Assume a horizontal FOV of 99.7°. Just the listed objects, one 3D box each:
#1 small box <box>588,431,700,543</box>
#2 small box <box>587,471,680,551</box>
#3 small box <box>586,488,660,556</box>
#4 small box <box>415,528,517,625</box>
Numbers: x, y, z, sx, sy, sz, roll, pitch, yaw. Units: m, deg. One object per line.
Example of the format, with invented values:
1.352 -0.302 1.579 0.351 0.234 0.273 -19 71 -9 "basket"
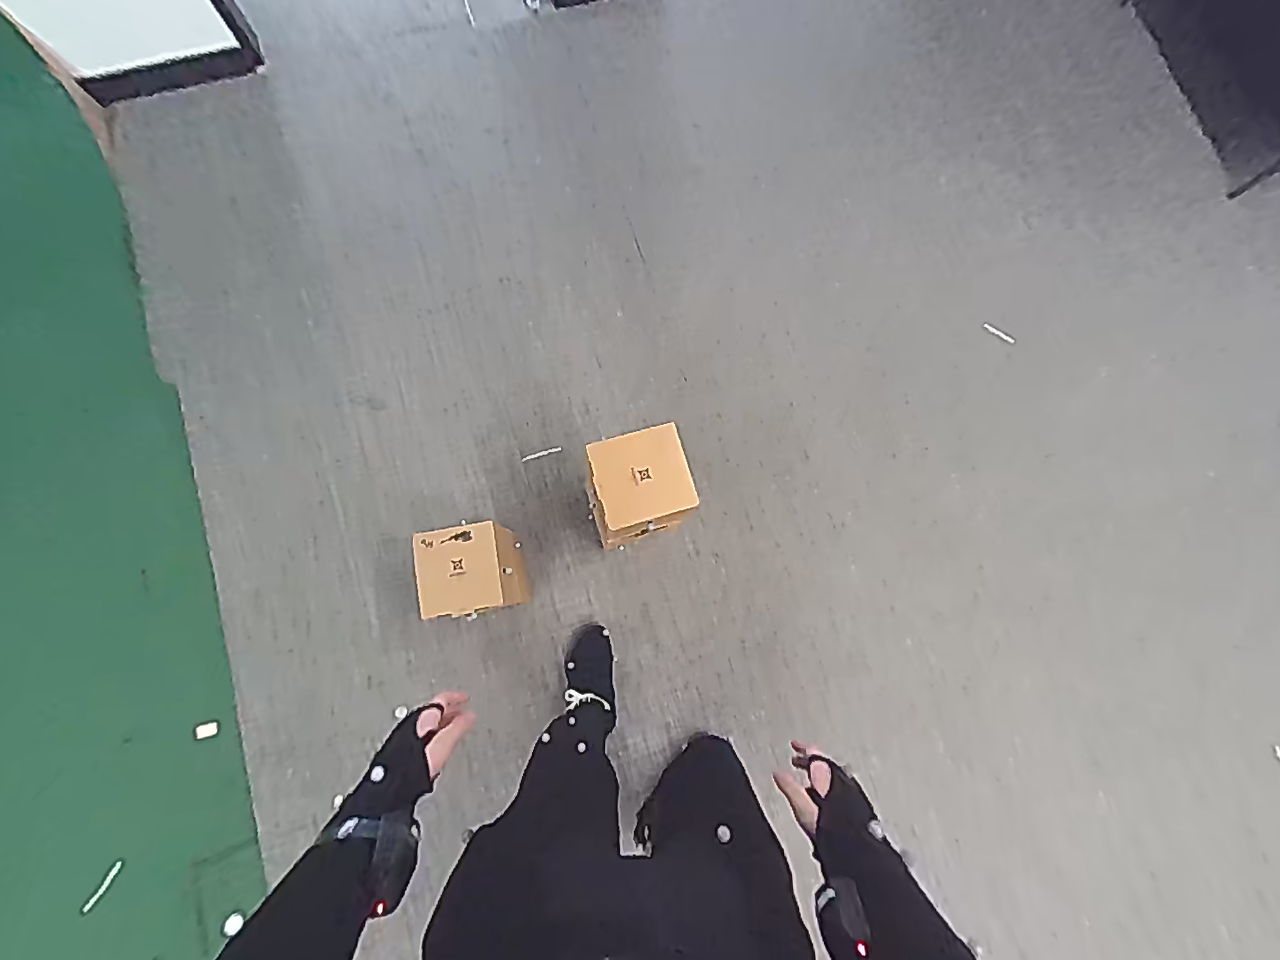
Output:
0.001 0.021 1.072 0.179 0.176 0.168 -16 79 -6 "small box"
-0.017 0.059 1.230 0.168 0.176 0.179 -15 78 -6 "small box"
-0.030 0.091 1.389 0.179 0.176 0.168 -16 80 -7 "small box"
-0.371 0.210 1.176 0.168 0.176 0.179 -9 79 -5 "small box"
